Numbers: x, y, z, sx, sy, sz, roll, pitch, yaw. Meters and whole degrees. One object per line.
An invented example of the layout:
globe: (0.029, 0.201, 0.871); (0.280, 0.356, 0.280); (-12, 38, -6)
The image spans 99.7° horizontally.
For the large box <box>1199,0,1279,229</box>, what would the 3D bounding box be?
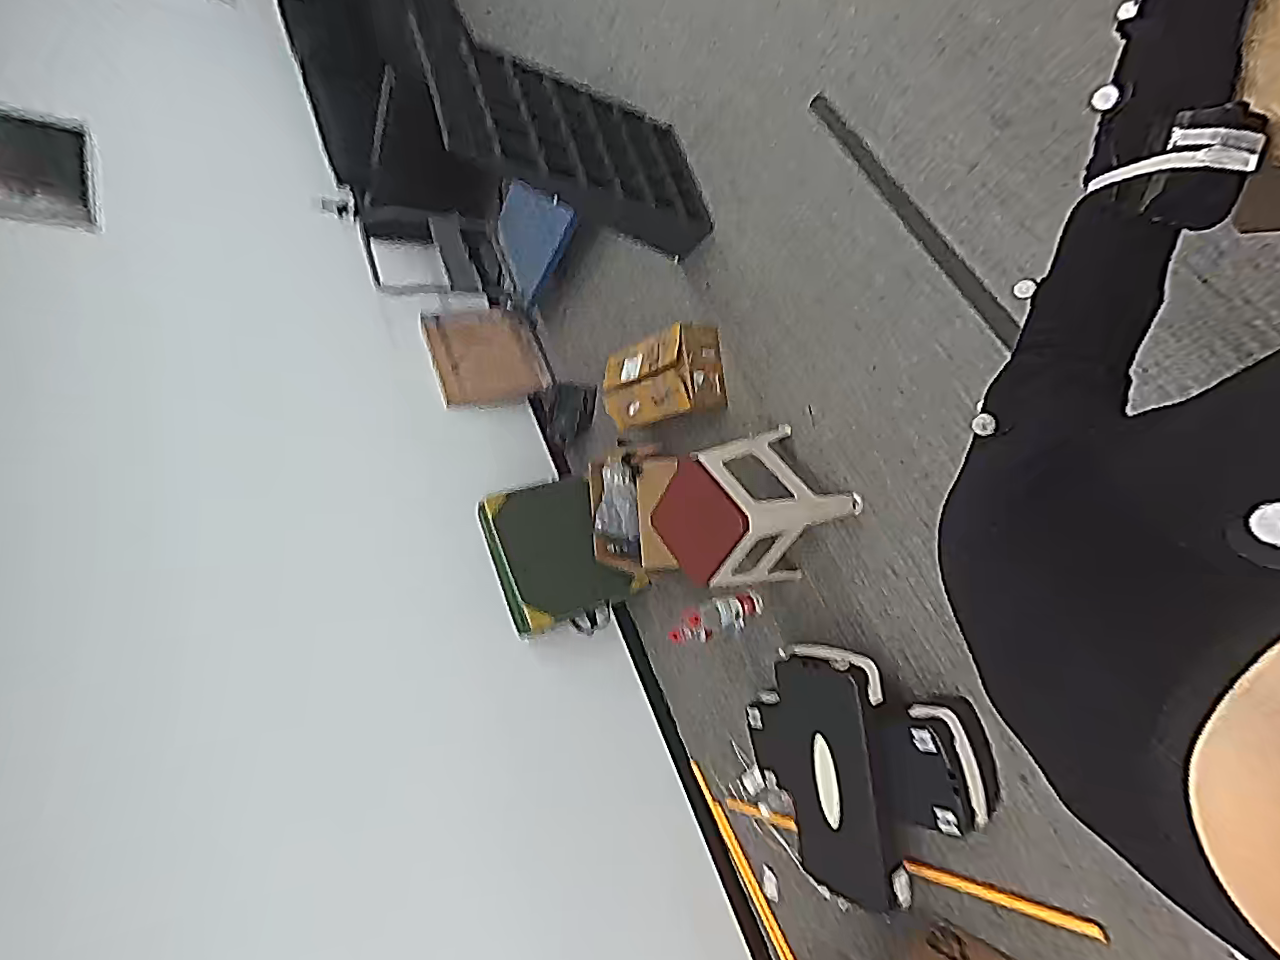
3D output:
large box: (0.643, -0.349, 0.298); (0.408, 0.320, 0.320); (20, 114, 47)
